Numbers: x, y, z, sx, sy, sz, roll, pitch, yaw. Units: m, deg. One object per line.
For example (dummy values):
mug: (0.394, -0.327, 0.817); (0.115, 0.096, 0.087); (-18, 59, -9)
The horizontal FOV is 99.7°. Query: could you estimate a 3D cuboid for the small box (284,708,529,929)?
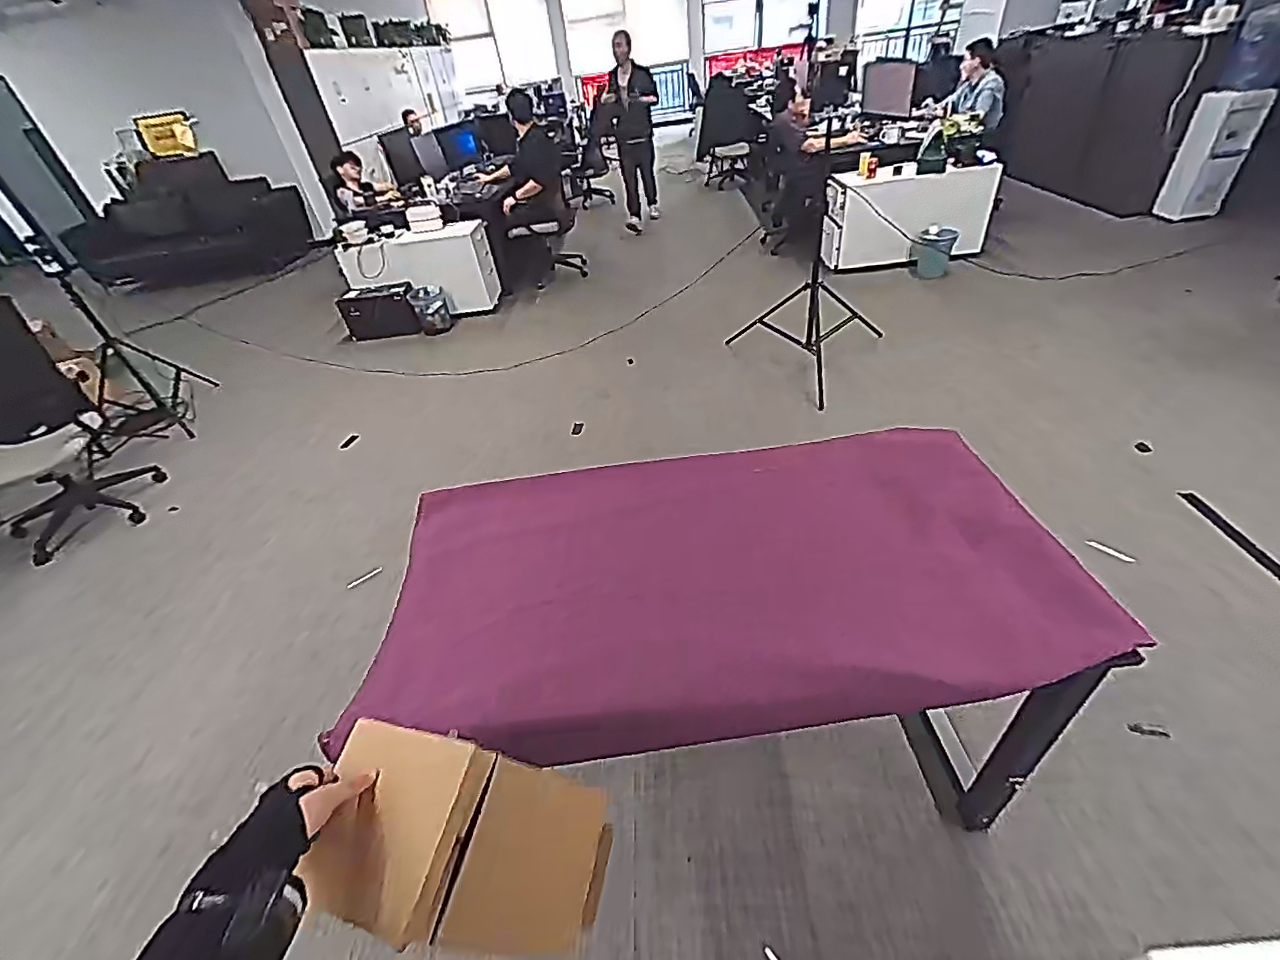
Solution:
small box: (-0.246, 0.386, 0.627); (0.179, 0.176, 0.168); (9, 55, 11)
